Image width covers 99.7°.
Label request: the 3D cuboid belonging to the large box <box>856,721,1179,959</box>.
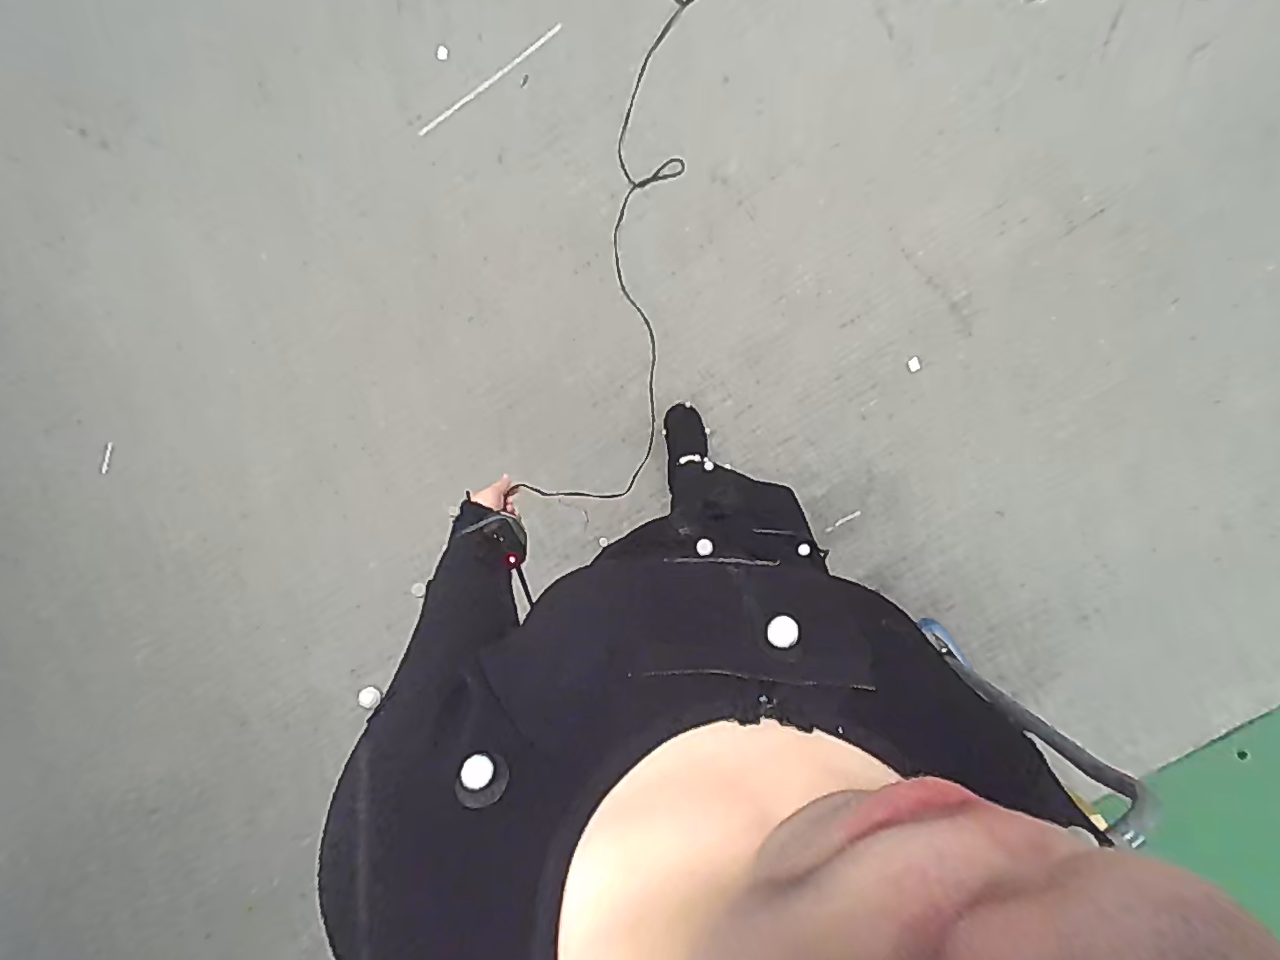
[{"bbox_3d":[0.753,0.803,1.150,0.408,0.320,0.320,-32,89,6],"label":"large box"}]
